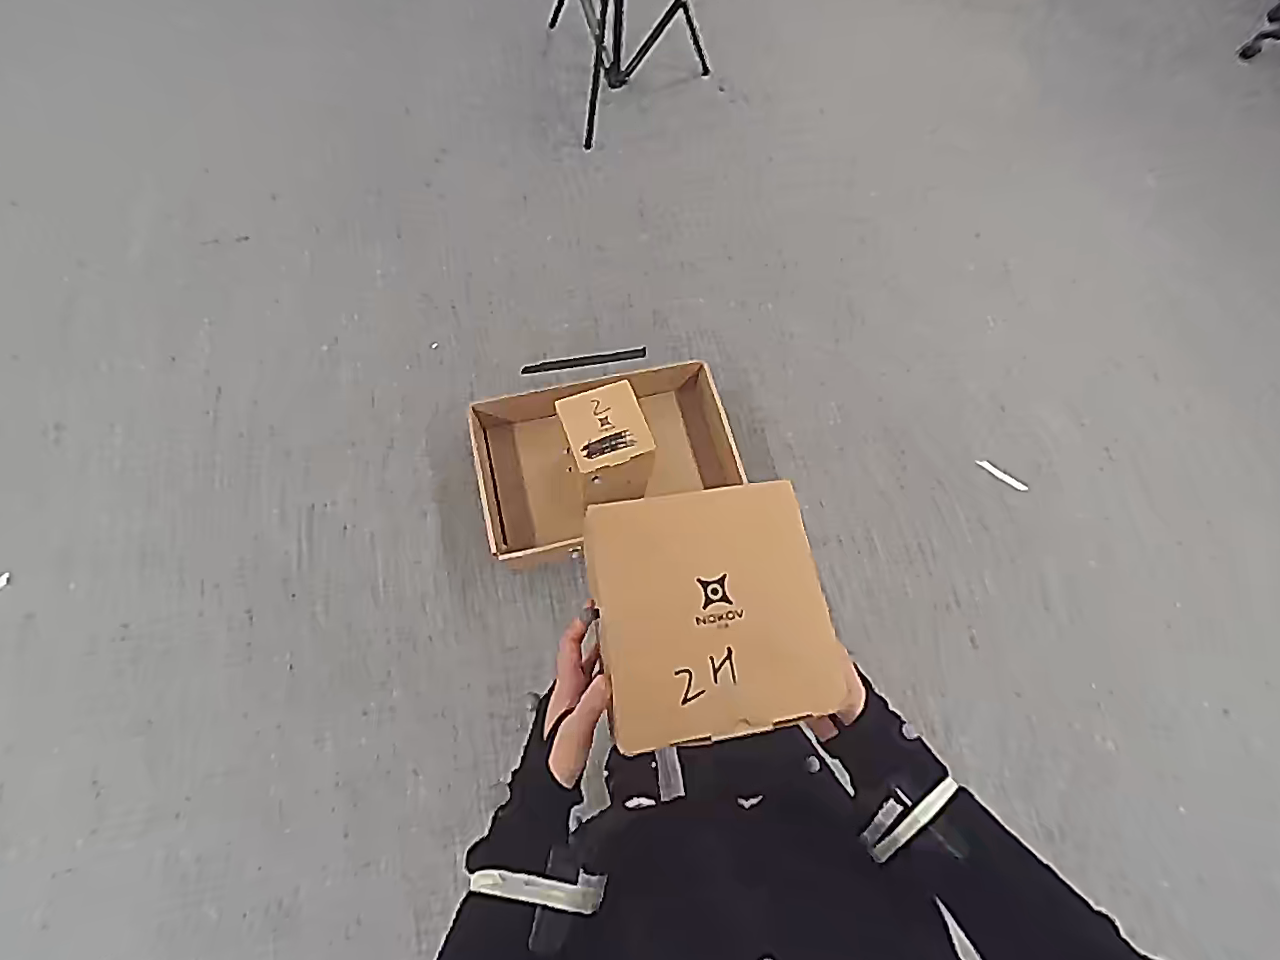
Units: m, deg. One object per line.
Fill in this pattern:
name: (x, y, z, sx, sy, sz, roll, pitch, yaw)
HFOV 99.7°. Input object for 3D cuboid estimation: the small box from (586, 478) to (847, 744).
small box: (0.045, 0.115, 0.472, 0.168, 0.176, 0.179, -7, 71, -9)

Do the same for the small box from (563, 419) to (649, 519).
small box: (-0.088, -0.023, 1.346, 0.168, 0.176, 0.179, -18, 74, -10)
